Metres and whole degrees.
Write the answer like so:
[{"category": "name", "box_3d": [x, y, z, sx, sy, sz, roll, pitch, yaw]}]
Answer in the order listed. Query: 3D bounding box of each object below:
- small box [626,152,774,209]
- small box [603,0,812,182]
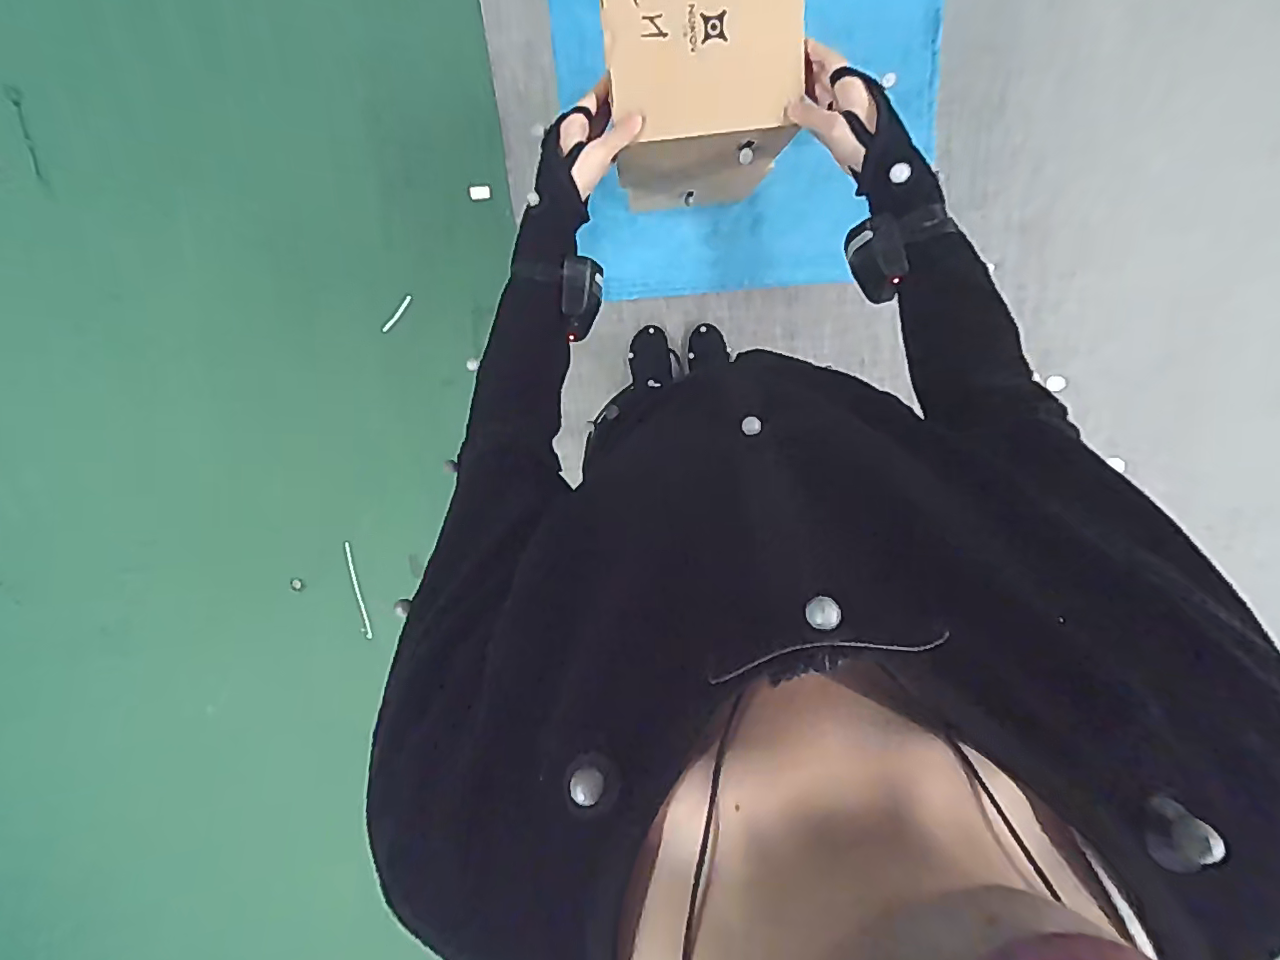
[{"category": "small box", "box_3d": [0.064, -0.459, 0.692, 0.179, 0.176, 0.168, -5, 105, 2]}, {"category": "small box", "box_3d": [0.057, -0.411, 0.535, 0.179, 0.176, 0.168, -5, 106, 1]}]
